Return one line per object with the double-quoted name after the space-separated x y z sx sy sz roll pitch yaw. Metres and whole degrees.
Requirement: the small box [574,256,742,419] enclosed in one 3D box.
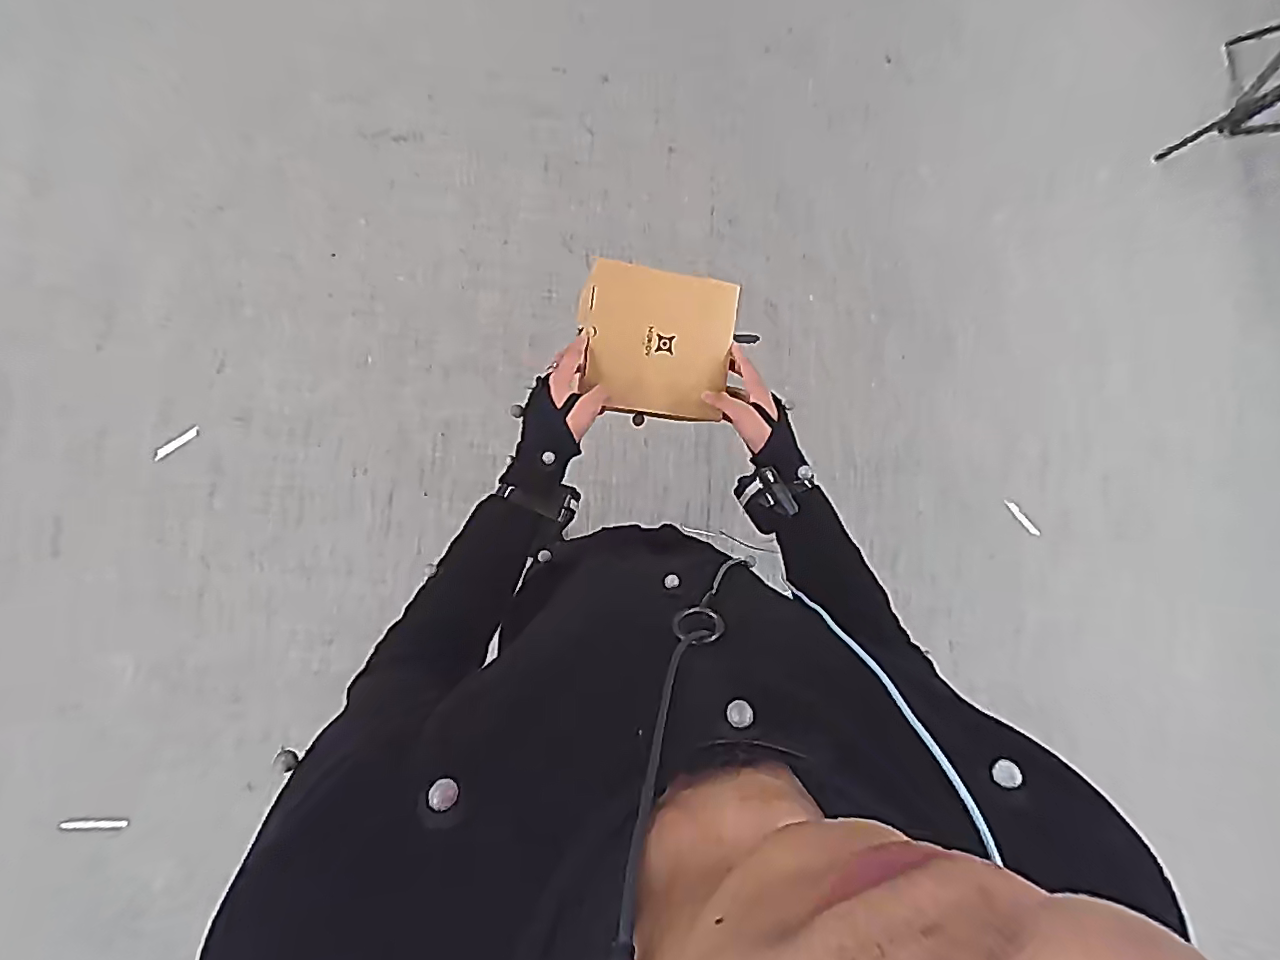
0.013 -0.176 0.714 0.179 0.176 0.168 6 96 -11 "small box"
